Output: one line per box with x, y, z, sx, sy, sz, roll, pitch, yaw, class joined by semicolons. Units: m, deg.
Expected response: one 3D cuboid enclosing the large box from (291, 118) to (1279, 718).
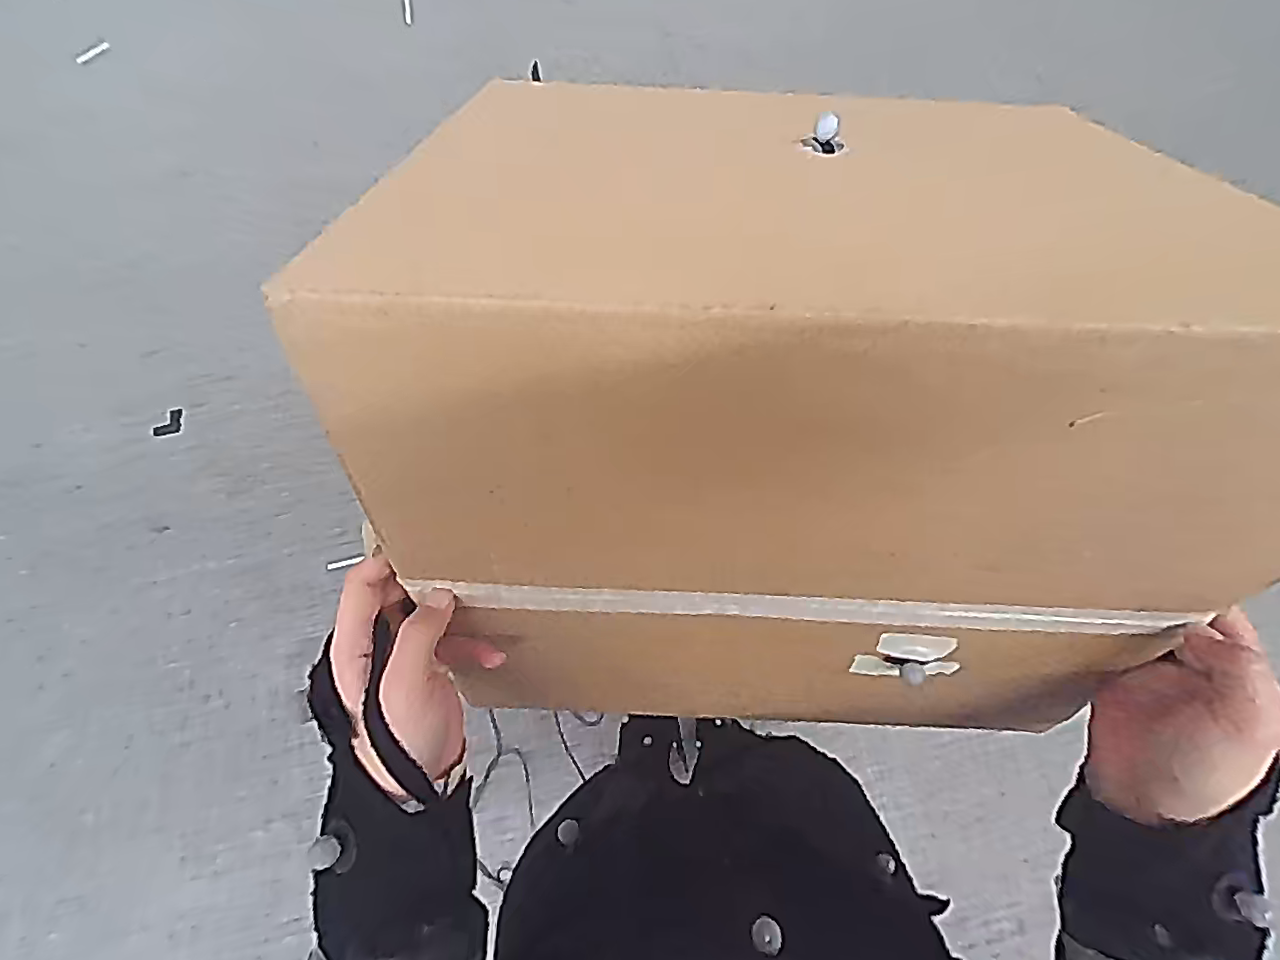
0.080;-0.045;0.385;0.408;0.320;0.320;1;47;0;large box
